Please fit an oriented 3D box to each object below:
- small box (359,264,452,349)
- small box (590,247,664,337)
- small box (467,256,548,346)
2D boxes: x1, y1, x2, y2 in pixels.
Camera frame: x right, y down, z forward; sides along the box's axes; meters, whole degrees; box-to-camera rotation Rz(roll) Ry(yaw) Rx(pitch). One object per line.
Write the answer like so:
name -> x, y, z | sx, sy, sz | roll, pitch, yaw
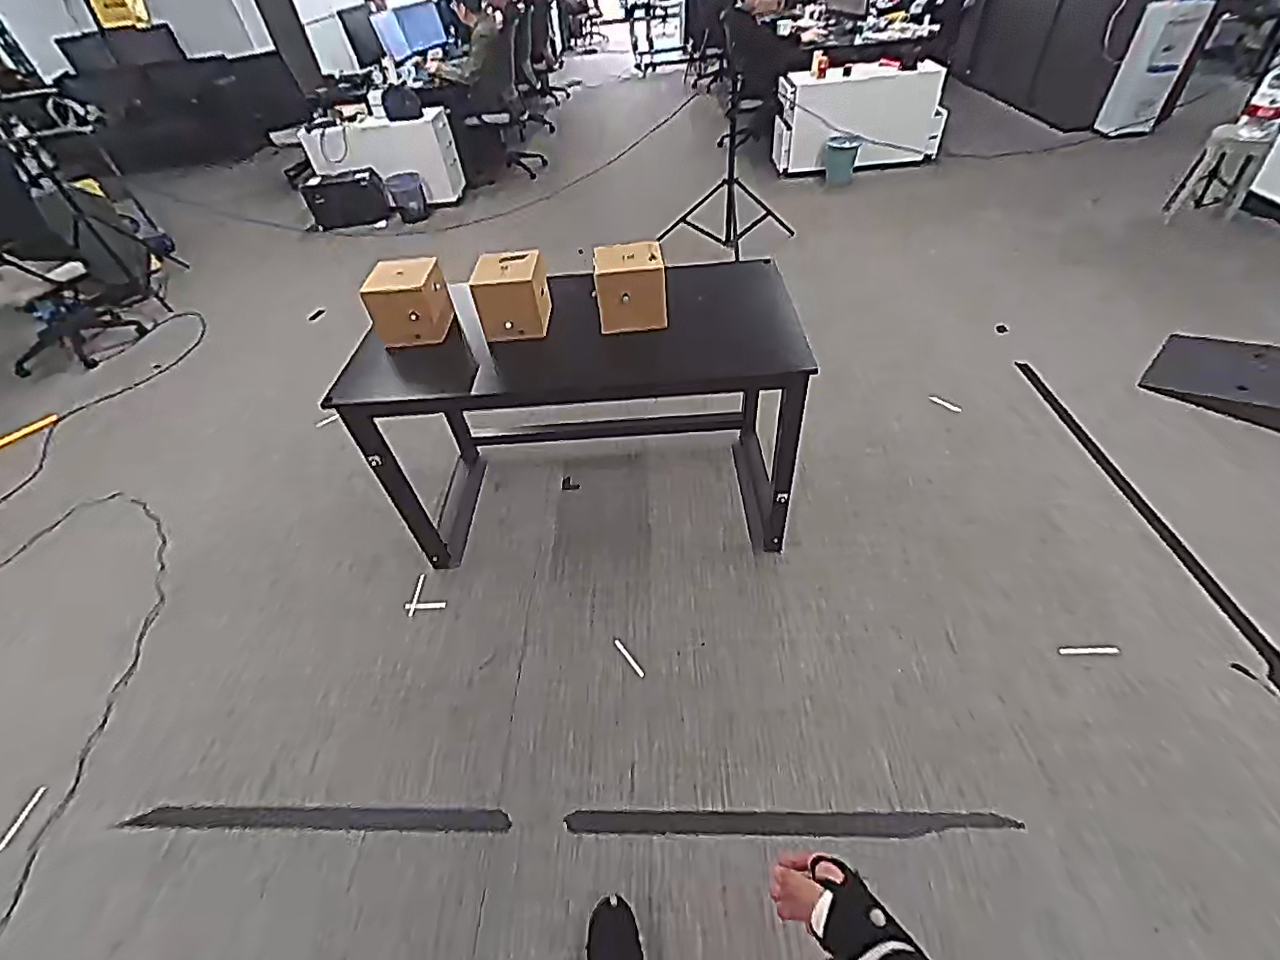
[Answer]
small box -> -0.637, -0.474, 1.494 | 0.168, 0.176, 0.179 | -4, 45, 1
small box -> -0.033, -0.501, 1.451 | 0.179, 0.176, 0.168 | -7, 46, 1
small box -> -0.350, -0.486, 1.472 | 0.168, 0.176, 0.179 | -4, 46, 3
